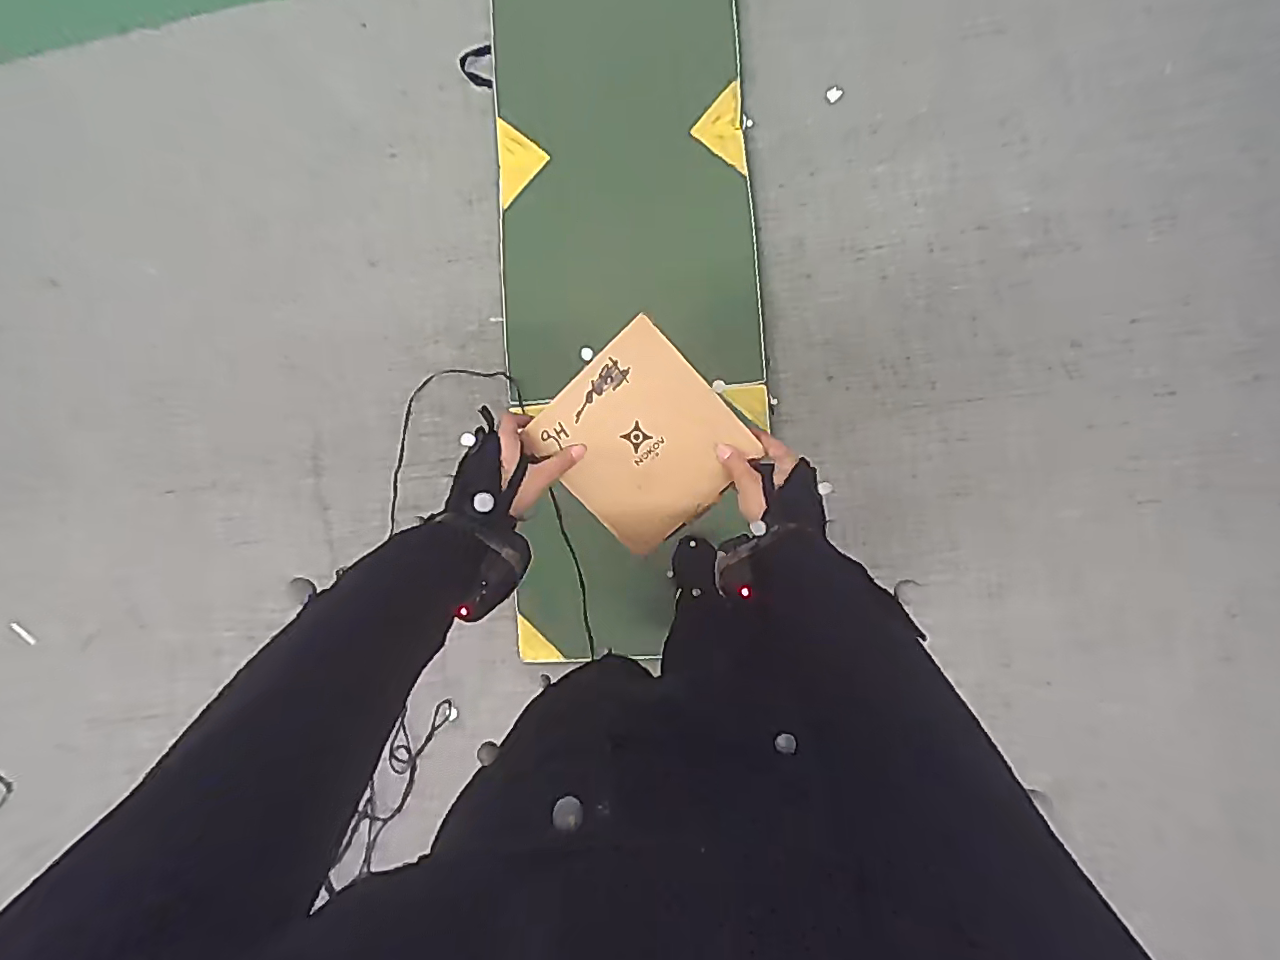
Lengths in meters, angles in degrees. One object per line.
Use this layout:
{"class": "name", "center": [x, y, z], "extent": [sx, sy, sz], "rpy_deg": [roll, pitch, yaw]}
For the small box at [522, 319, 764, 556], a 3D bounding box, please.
{"class": "small box", "center": [0.007, -0.055, 0.592], "extent": [0.168, 0.176, 0.179], "rpy_deg": [-42, 99, 11]}
